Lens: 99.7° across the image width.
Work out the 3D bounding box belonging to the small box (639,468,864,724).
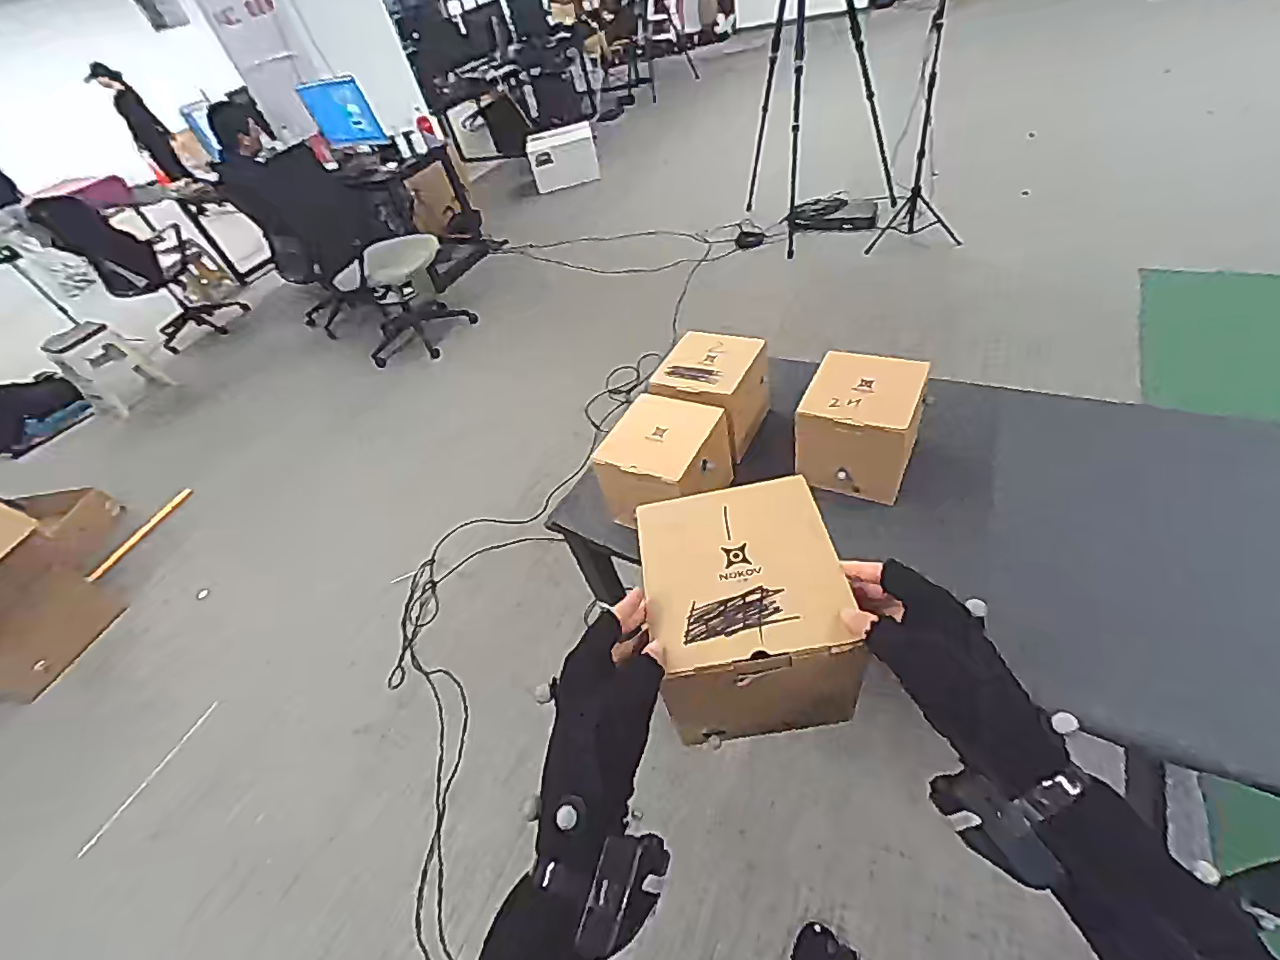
[{"bbox_3d":[0.100,0.119,0.523,0.168,0.176,0.179,-11,46,5],"label":"small box"}]

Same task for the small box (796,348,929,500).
[{"bbox_3d":[0.370,-0.097,0.919,0.168,0.176,0.179,16,54,28],"label":"small box"}]

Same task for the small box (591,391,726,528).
[{"bbox_3d":[0.043,-0.025,0.941,0.168,0.176,0.179,16,54,28],"label":"small box"}]
